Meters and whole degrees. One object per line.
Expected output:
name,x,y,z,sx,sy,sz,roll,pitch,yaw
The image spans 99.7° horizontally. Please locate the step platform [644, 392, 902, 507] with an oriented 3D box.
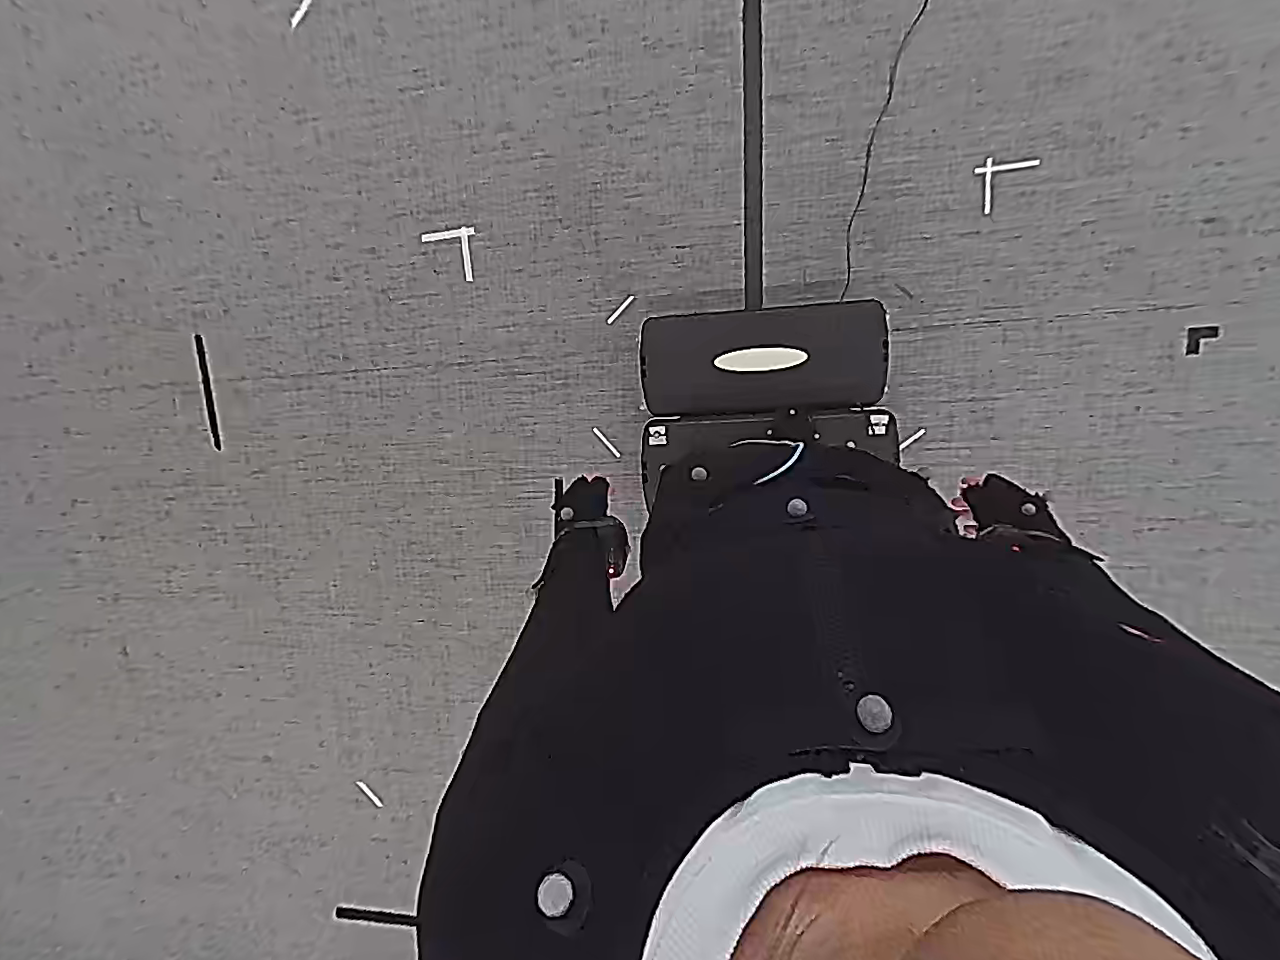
step platform,0.352,-0.080,1.506,0.684,0.204,0.286,-3,97,10
